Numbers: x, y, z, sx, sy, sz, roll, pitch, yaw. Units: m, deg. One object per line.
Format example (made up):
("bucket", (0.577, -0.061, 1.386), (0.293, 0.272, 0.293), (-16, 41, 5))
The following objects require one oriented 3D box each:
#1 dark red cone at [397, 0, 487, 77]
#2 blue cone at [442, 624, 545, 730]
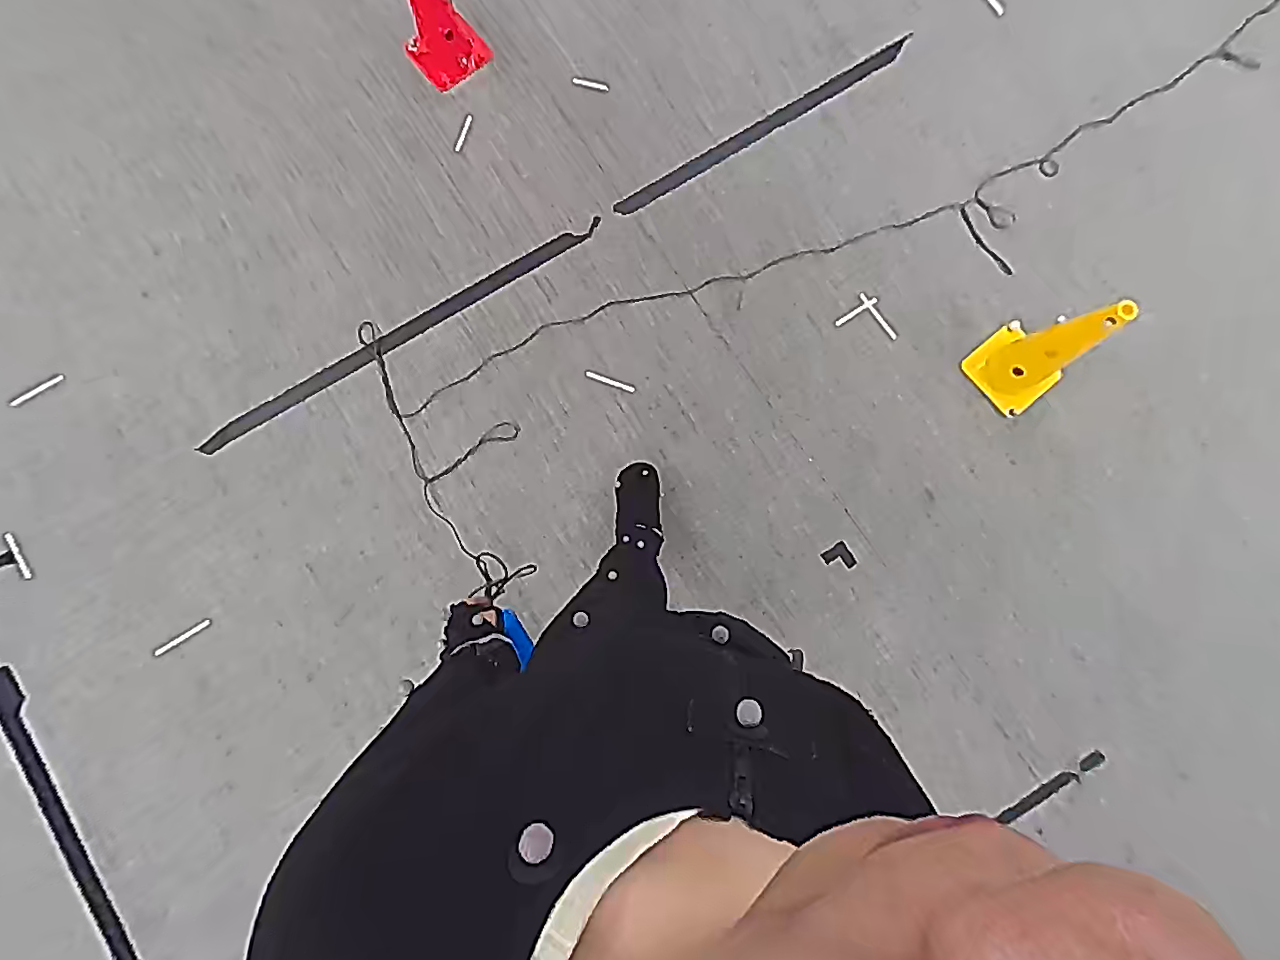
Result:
("dark red cone", (-0.562, -1.283, 1.383), (0.202, 0.394, 0.201), (-40, 85, -5))
("blue cone", (-0.350, 0.451, 1.166), (0.193, 0.380, 0.192), (-32, 84, -4))
